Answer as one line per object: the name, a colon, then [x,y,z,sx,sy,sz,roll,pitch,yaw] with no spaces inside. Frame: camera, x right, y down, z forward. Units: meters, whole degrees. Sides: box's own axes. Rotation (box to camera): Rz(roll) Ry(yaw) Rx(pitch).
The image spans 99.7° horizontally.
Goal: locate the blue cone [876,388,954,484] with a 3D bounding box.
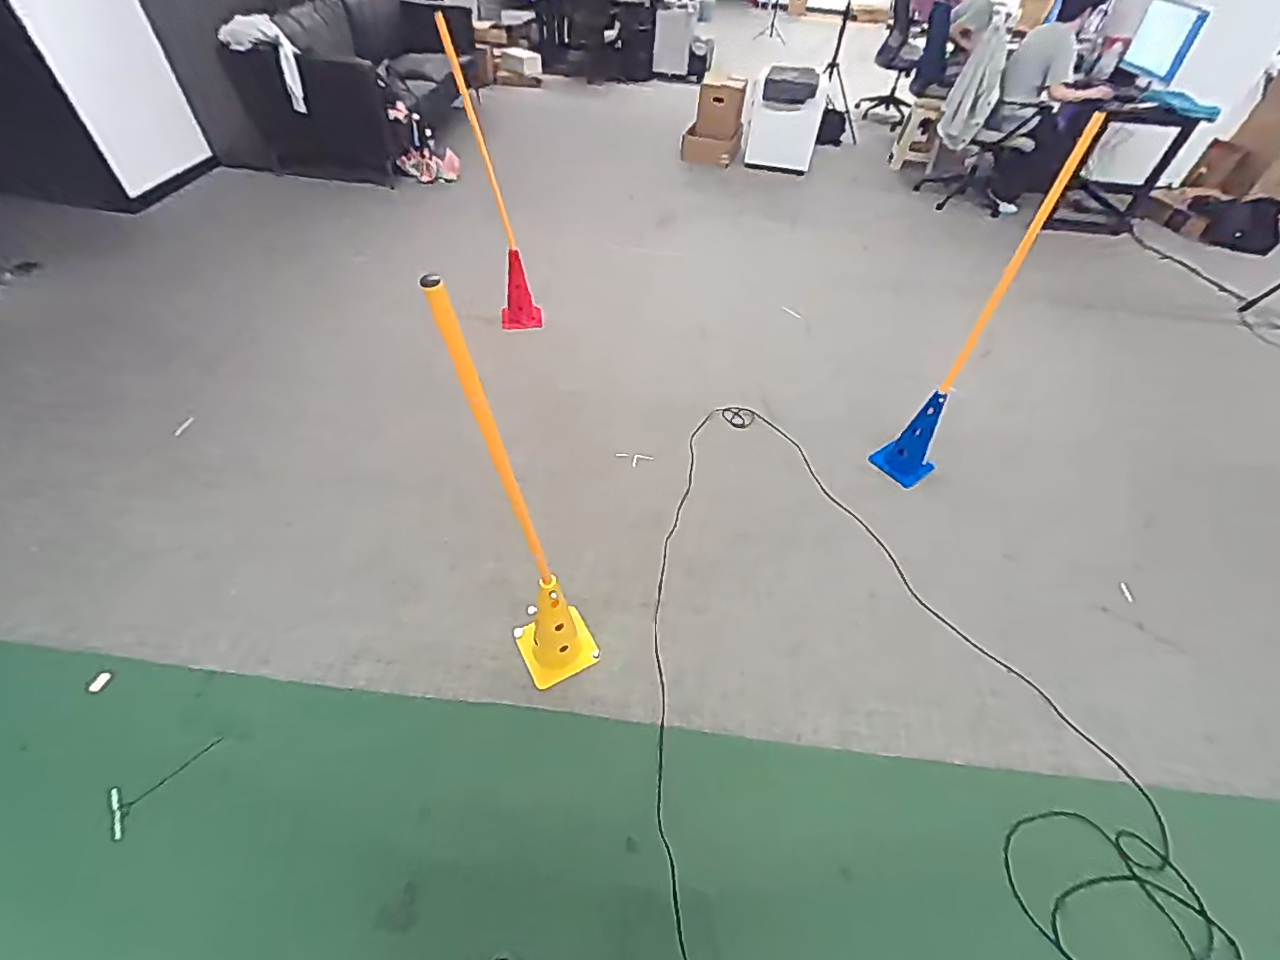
blue cone: [1.059,-0.187,2.023,0.193,0.380,0.192,-28,54,-28]
